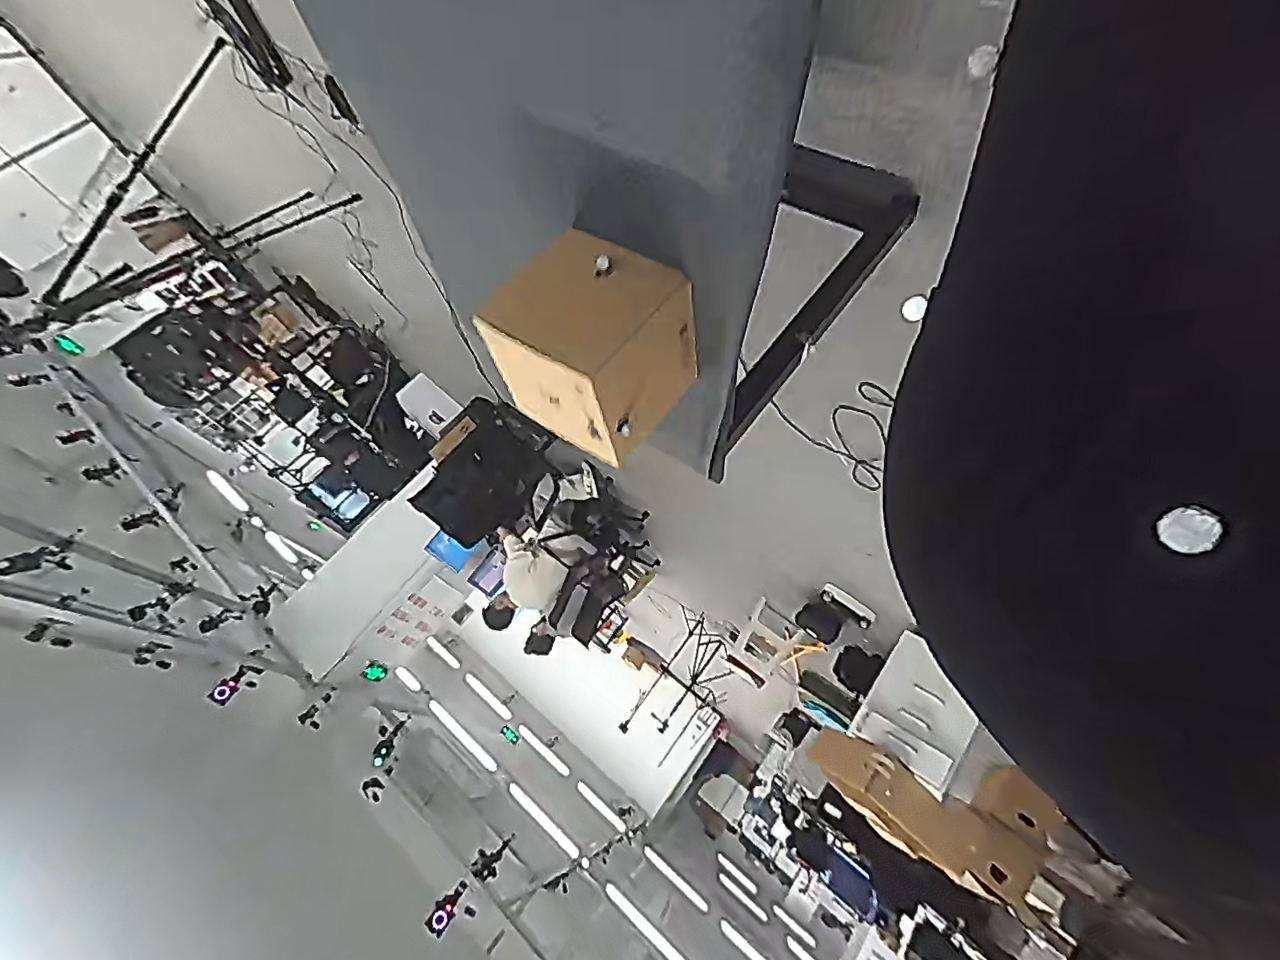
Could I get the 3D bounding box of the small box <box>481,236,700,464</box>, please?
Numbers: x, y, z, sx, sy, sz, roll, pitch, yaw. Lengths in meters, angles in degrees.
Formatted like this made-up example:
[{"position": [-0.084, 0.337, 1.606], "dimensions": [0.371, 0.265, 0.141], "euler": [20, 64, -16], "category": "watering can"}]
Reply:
[{"position": [-0.047, -0.158, 0.644], "dimensions": [0.179, 0.176, 0.168], "euler": [33, 160, 24], "category": "small box"}]
